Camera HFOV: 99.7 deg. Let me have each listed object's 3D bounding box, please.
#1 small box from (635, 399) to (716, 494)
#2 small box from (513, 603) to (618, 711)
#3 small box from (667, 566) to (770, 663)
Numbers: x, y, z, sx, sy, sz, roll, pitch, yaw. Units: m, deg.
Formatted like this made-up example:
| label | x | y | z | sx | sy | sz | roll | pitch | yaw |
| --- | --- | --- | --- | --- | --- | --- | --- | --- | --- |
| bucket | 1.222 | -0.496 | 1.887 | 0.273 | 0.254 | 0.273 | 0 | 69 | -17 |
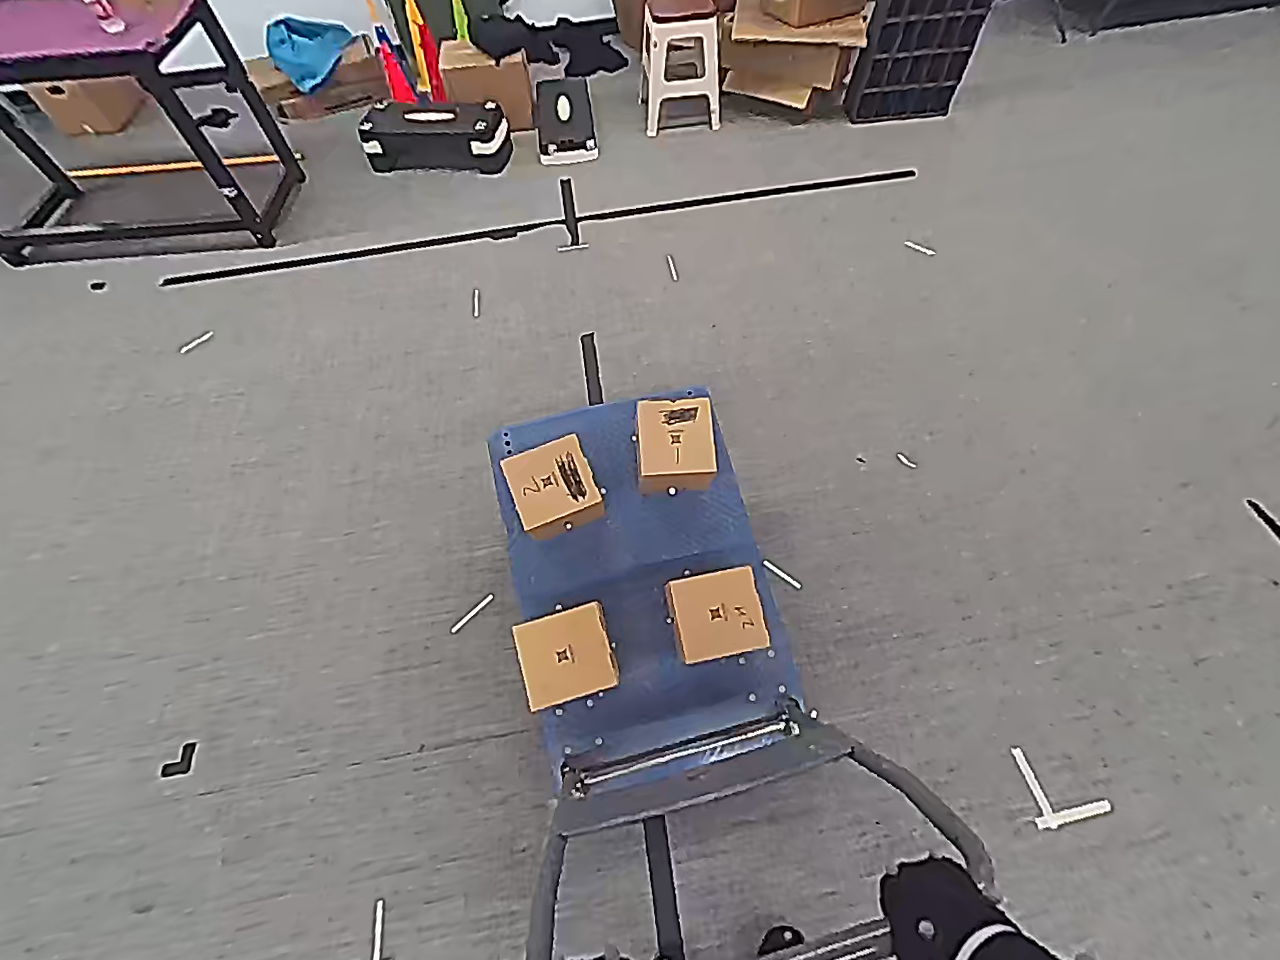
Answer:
| label | x | y | z | sx | sy | sz | roll | pitch | yaw |
| --- | --- | --- | --- | --- | --- | --- | --- | --- | --- |
| small box | 0.075 | -0.074 | 1.259 | 0.168 | 0.176 | 0.179 | -3 | 76 | -3 |
| small box | -0.149 | 0.366 | 1.130 | 0.179 | 0.176 | 0.168 | -16 | 75 | -7 |
| small box | 0.157 | 0.290 | 1.160 | 0.179 | 0.176 | 0.168 | -11 | 75 | -5 |
